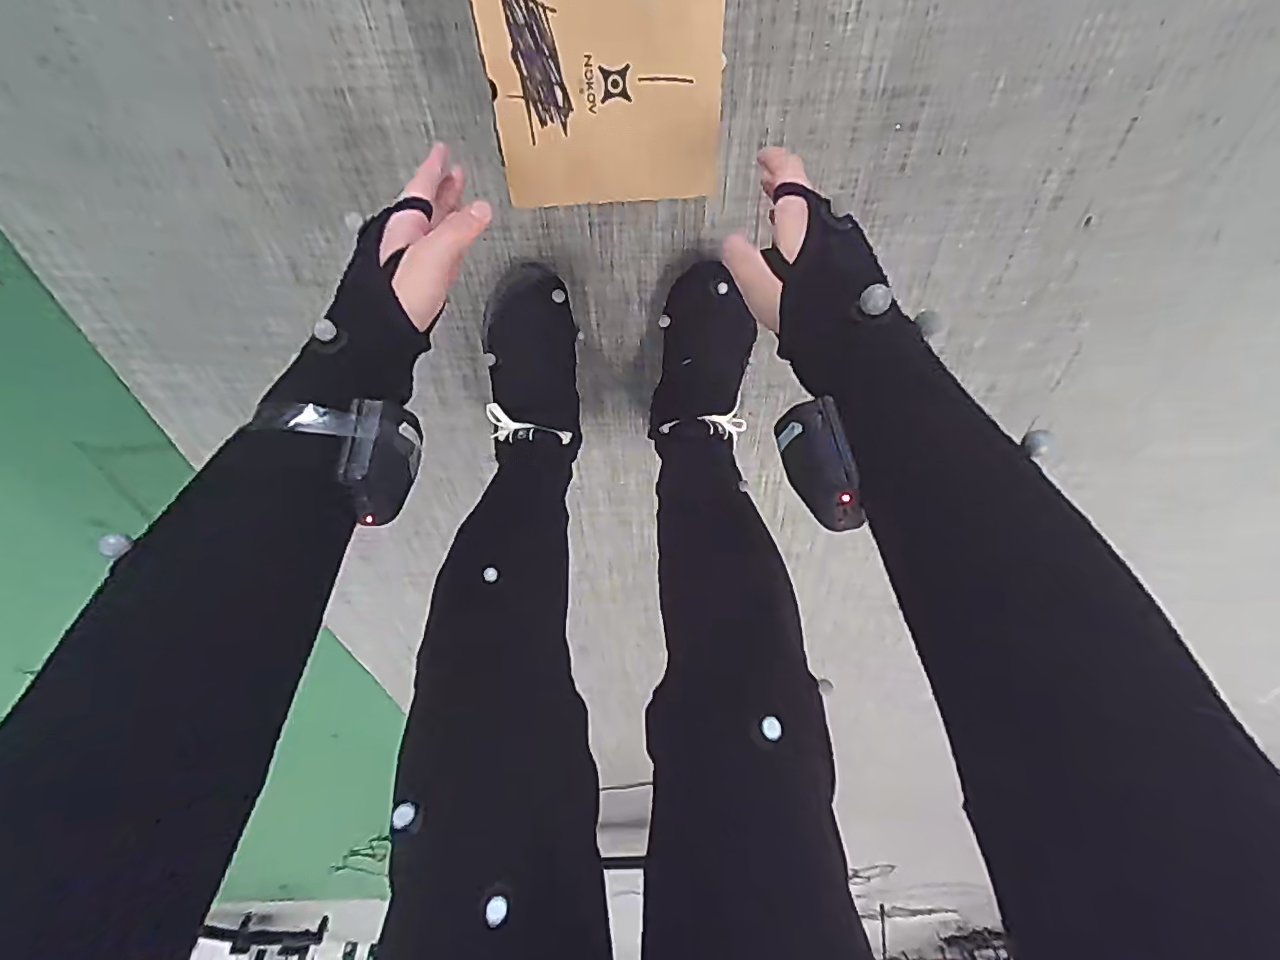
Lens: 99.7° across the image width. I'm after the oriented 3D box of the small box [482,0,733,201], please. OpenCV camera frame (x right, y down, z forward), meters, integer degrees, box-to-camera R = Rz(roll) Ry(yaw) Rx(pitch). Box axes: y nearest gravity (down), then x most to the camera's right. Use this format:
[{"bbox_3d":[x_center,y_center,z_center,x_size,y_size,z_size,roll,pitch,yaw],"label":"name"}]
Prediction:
[{"bbox_3d":[-0.022,-0.353,0.459,0.179,0.176,0.168,-3,134,0],"label":"small box"}]
